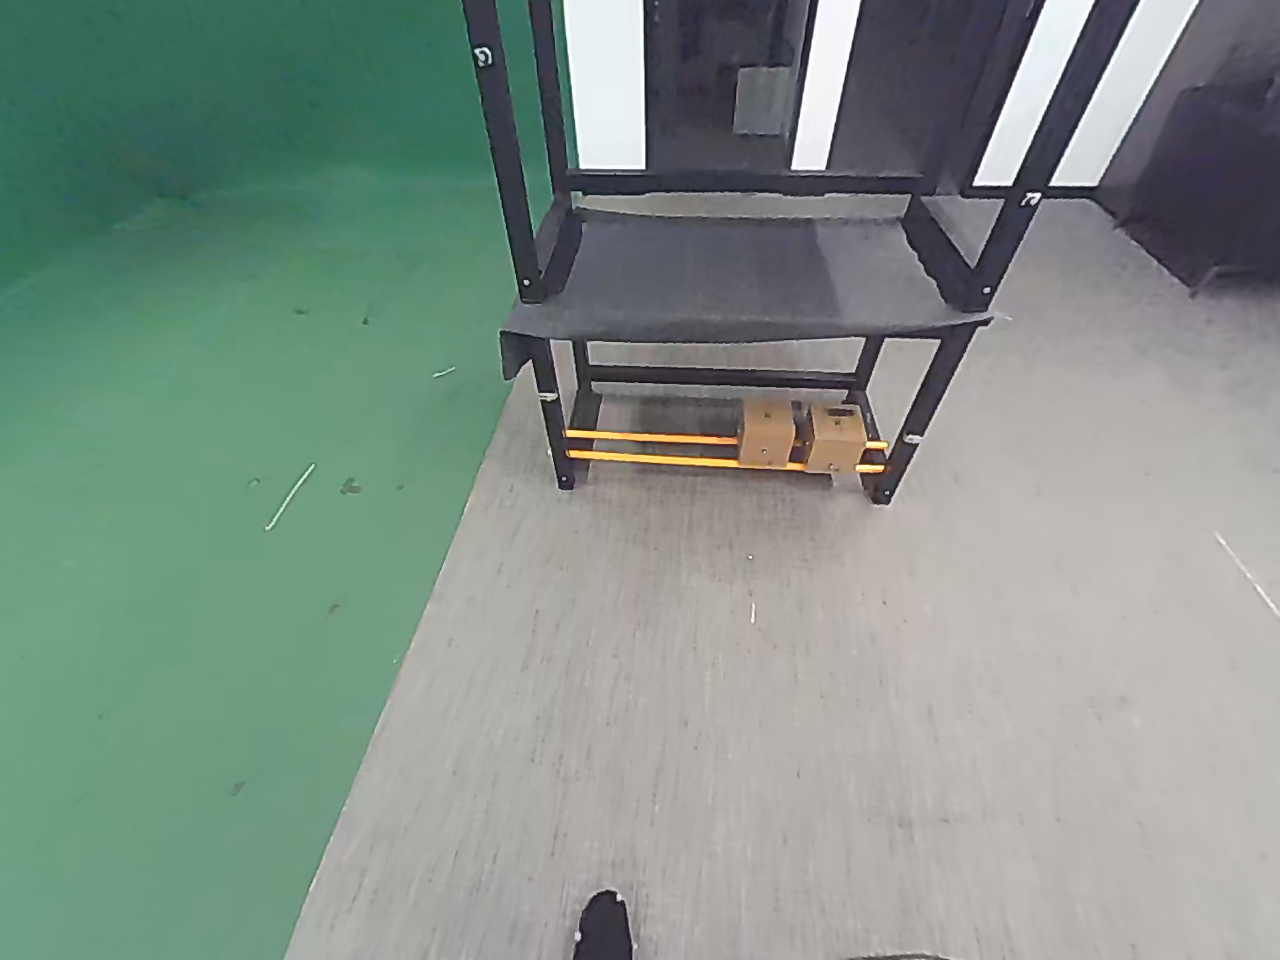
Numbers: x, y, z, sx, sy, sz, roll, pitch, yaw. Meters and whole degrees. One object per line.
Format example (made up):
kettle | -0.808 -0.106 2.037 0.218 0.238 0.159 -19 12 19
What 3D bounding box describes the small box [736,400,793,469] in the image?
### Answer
small box | 0.426 -0.155 1.870 0.168 0.176 0.179 2 48 4
